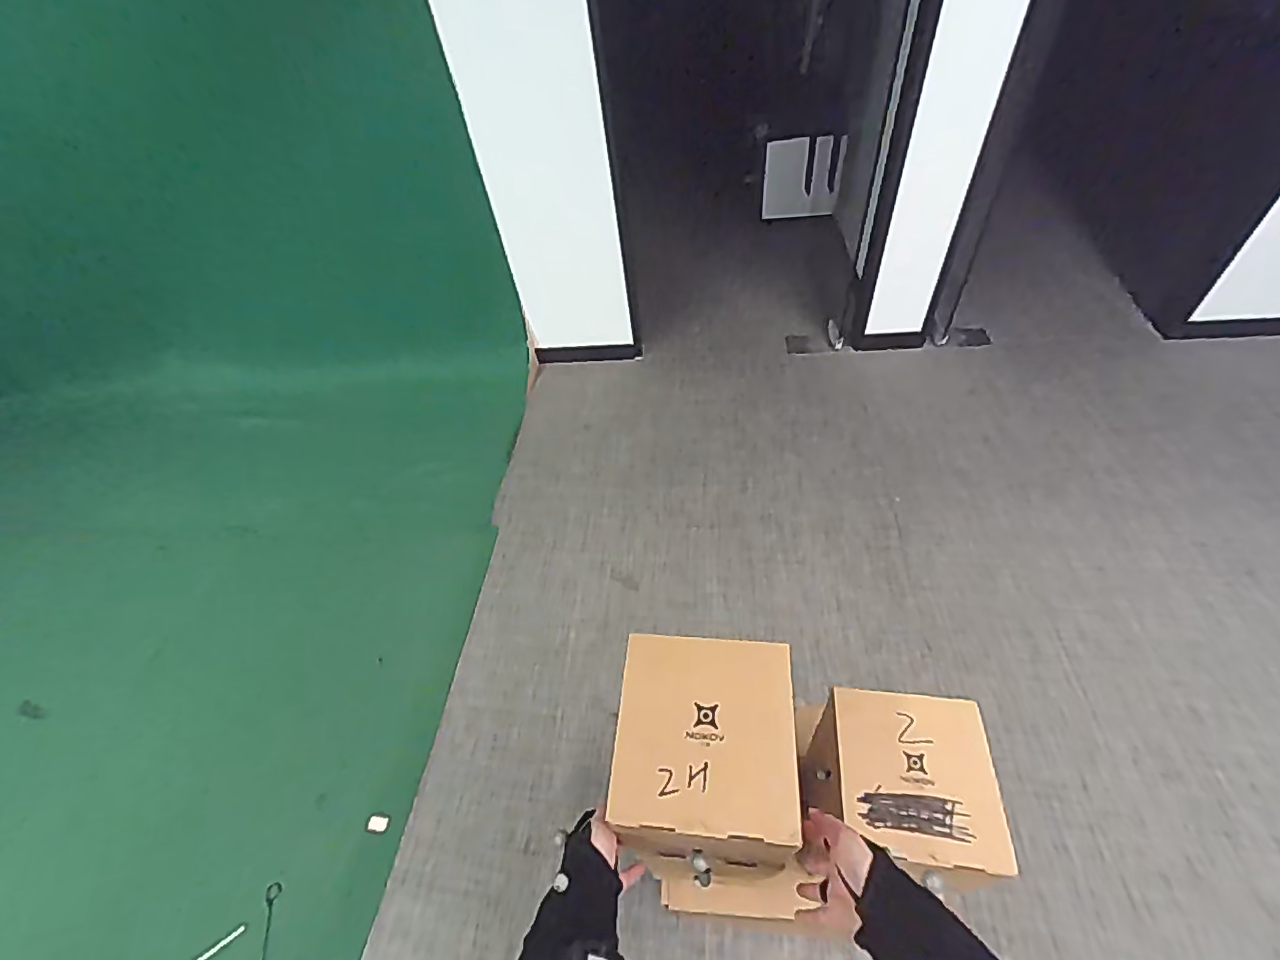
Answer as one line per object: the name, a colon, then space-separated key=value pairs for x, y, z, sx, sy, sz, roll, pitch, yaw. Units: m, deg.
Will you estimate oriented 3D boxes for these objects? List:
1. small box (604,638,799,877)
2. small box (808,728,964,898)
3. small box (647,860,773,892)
small box: x=0.066 y=0.286 z=0.560 sx=0.168 sy=0.176 sz=0.179 roll=2 pitch=50 yaw=9
small box: x=0.340 y=0.485 z=0.785 sx=0.168 sy=0.176 sz=0.179 roll=2 pitch=49 yaw=11
small box: x=0.104 y=0.497 z=0.812 sx=0.168 sy=0.176 sz=0.179 roll=0 pitch=50 yaw=8
